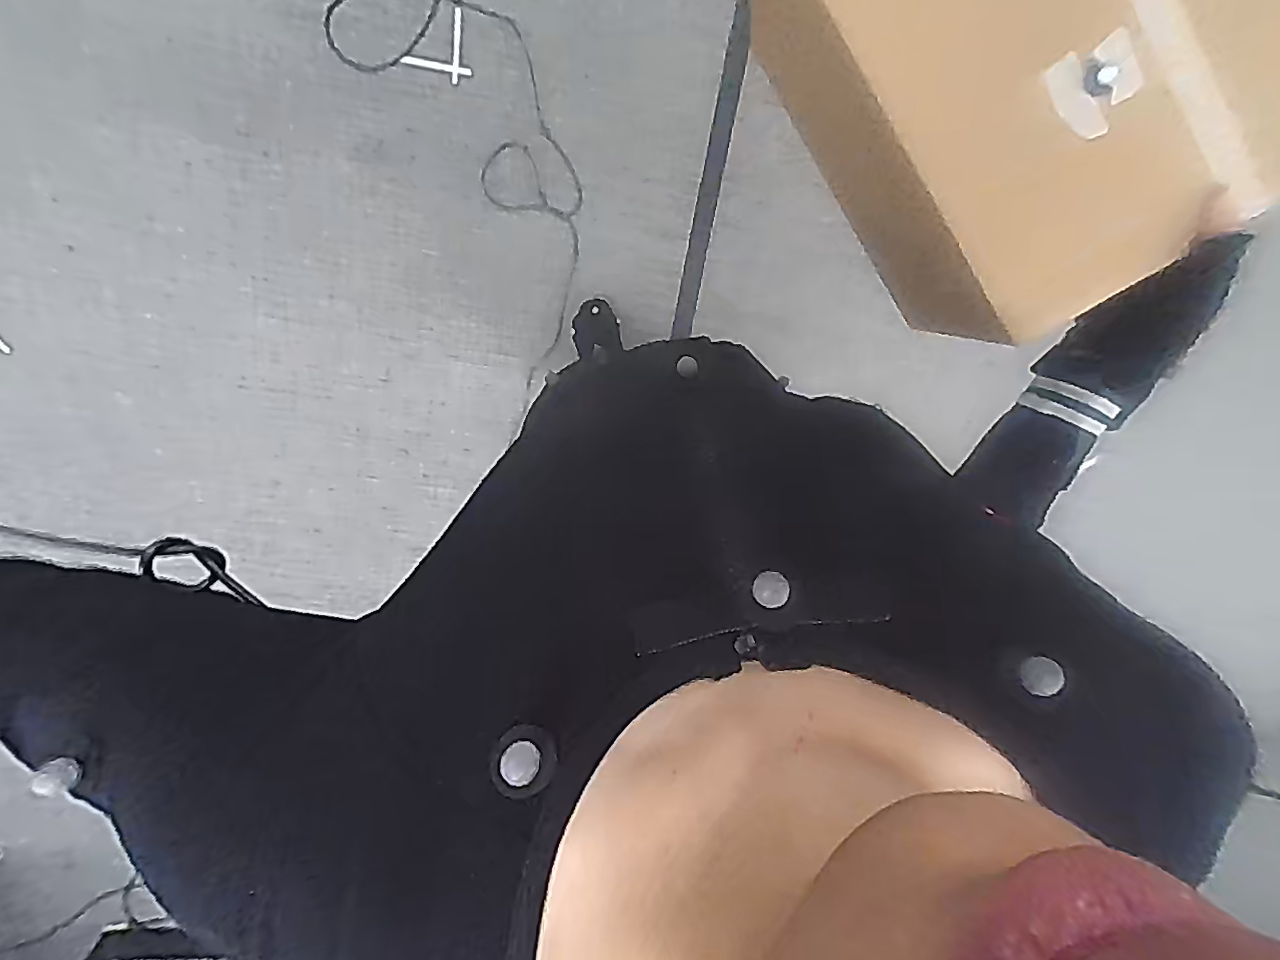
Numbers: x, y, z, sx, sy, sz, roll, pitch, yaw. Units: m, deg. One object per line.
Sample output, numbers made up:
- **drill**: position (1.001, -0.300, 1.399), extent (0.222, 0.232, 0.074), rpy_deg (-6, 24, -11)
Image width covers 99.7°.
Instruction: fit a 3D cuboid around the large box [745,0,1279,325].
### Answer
- **large box**: position (0.332, -0.404, 0.496), extent (0.320, 0.320, 0.408), rpy_deg (-32, 100, 20)
